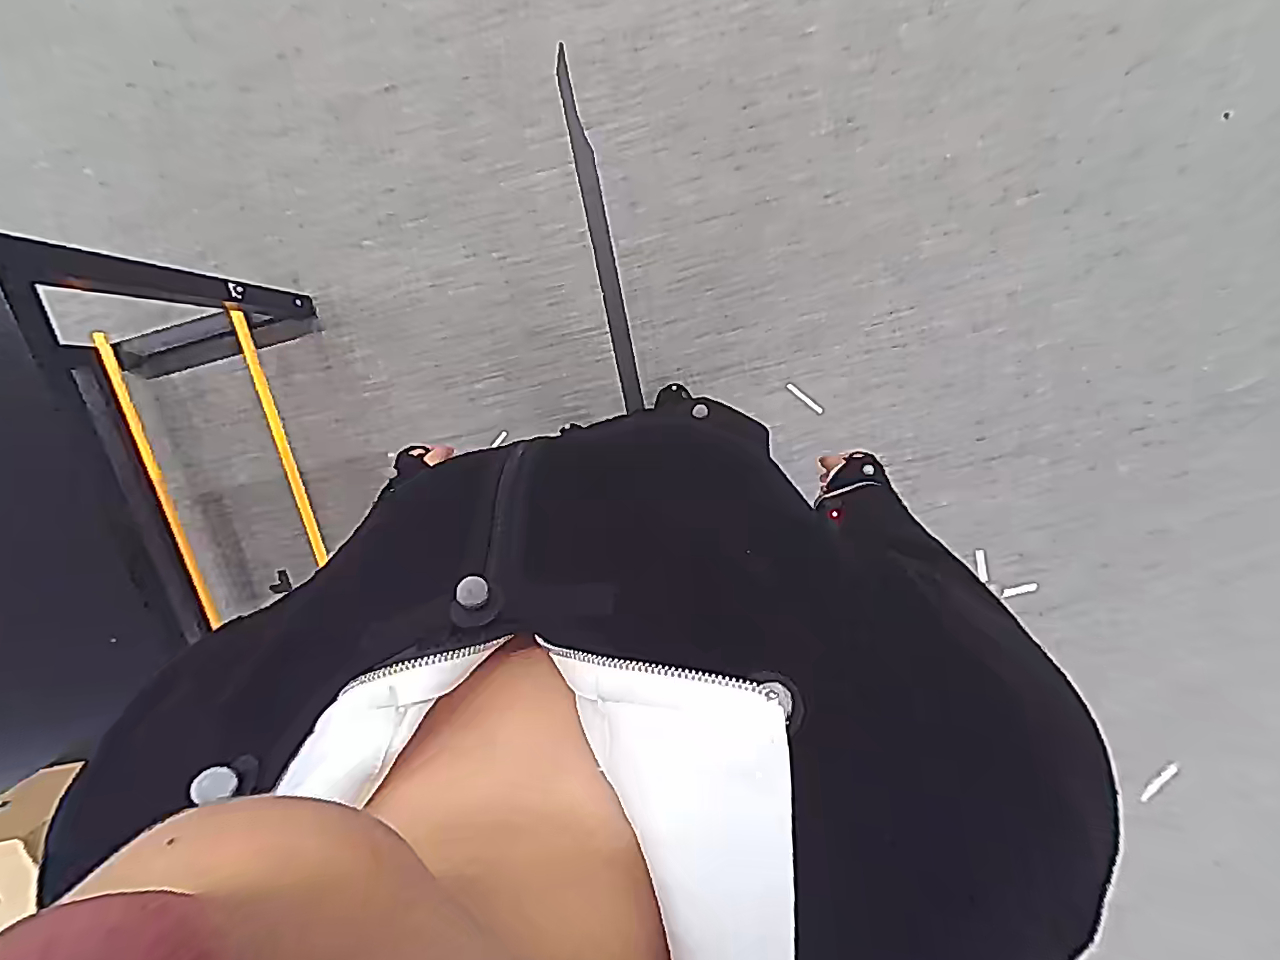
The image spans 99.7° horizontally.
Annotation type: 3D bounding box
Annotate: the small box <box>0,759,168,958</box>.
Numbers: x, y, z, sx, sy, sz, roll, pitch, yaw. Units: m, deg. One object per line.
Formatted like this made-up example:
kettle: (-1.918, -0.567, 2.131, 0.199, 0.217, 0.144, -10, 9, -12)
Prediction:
small box: (-0.863, 0.544, 0.790, 0.179, 0.176, 0.168, -13, 101, 4)
